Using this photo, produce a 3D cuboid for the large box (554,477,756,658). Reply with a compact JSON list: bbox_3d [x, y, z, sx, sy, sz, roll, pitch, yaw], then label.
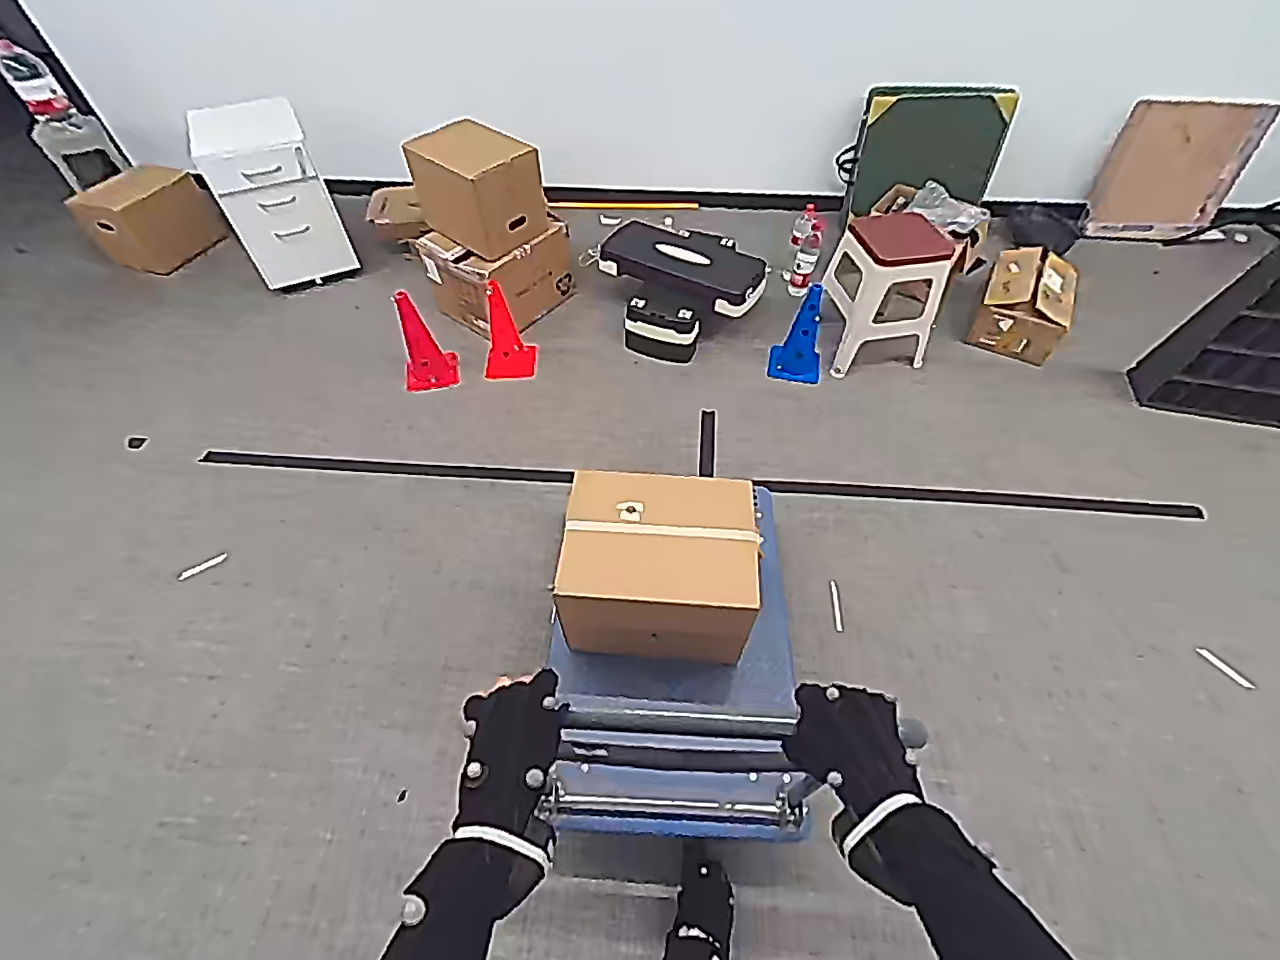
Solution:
[{"bbox_3d":[0.041,0.211,1.268,0.408,0.320,0.320,3,53,3],"label":"large box"}]
